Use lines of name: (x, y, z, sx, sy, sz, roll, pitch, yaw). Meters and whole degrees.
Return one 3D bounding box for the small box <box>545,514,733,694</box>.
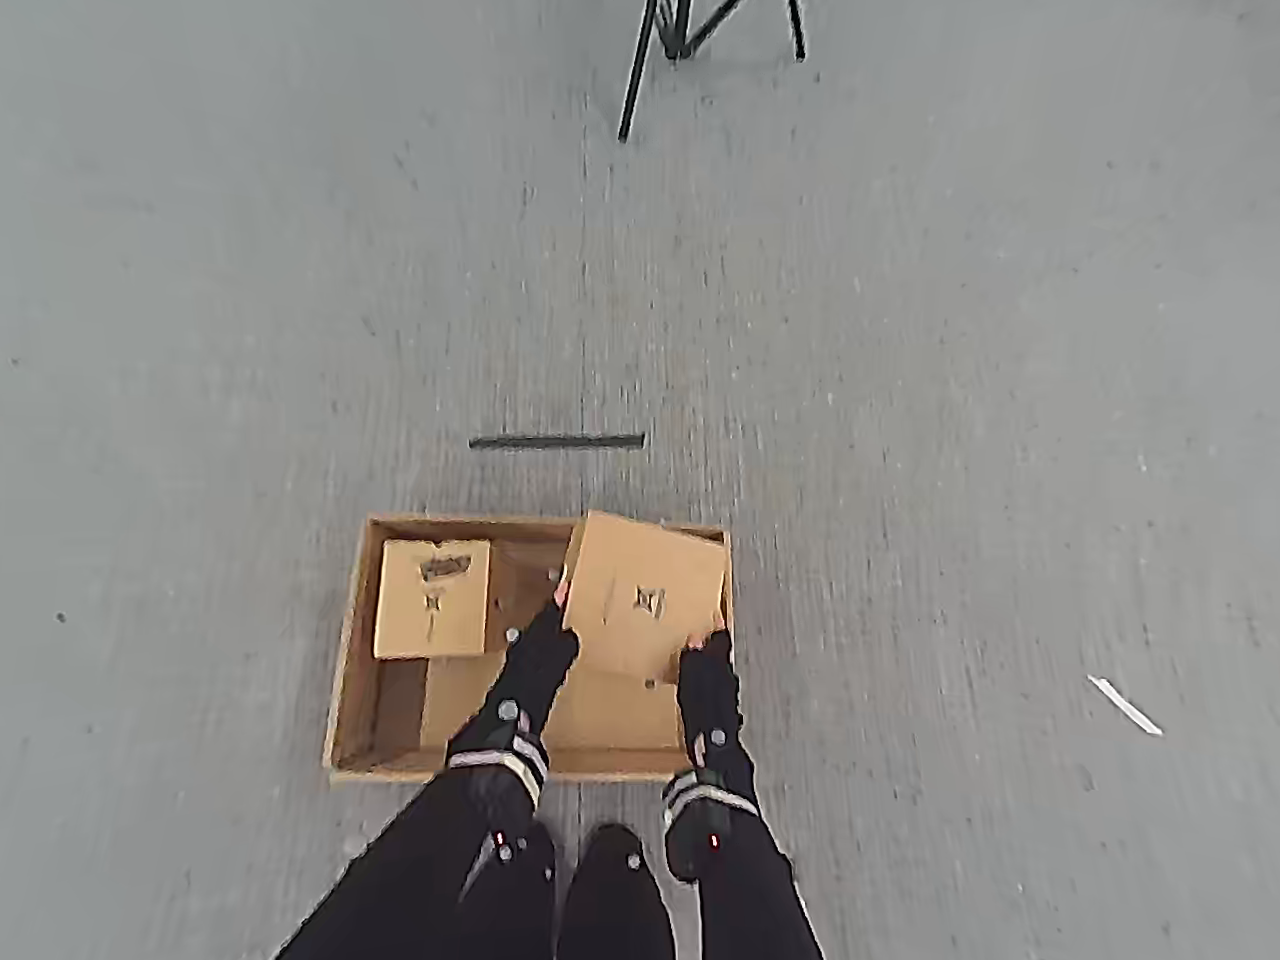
small box: (-0.009, 0.153, 0.668, 0.179, 0.176, 0.168, 15, 73, -10)
